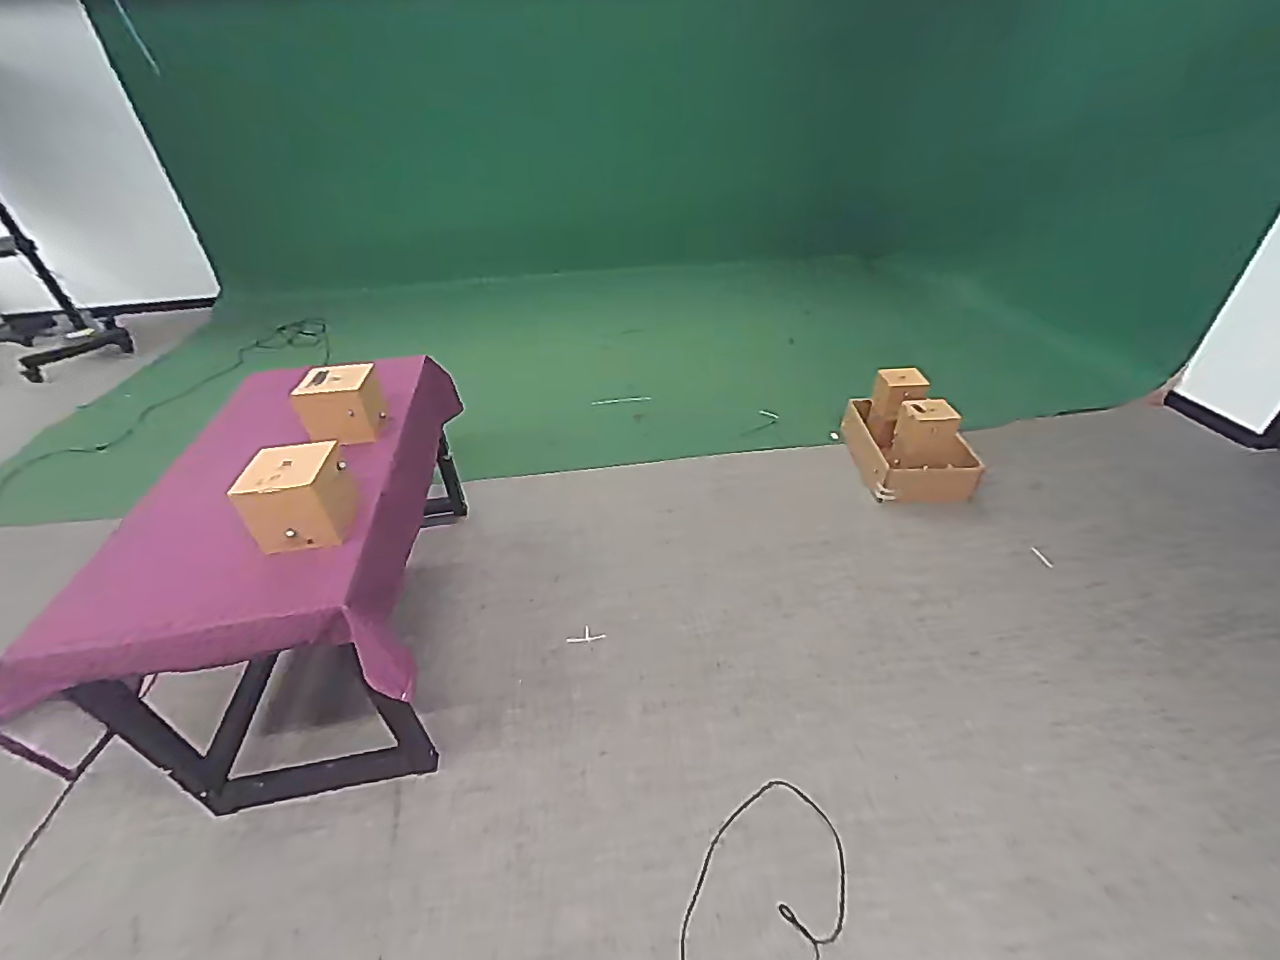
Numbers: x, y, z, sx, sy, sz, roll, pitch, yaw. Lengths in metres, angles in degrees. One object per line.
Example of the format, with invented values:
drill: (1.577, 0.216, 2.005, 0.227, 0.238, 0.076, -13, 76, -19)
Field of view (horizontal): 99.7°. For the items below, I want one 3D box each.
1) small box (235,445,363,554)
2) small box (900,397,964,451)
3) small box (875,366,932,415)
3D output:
small box: (-0.750, 0.043, 1.216, 0.168, 0.176, 0.179, -8, 37, -4)
small box: (1.212, -0.234, 2.267, 0.179, 0.176, 0.168, -3, 36, 1)
small box: (1.218, -0.416, 2.514, 0.179, 0.176, 0.168, -3, 37, 4)
